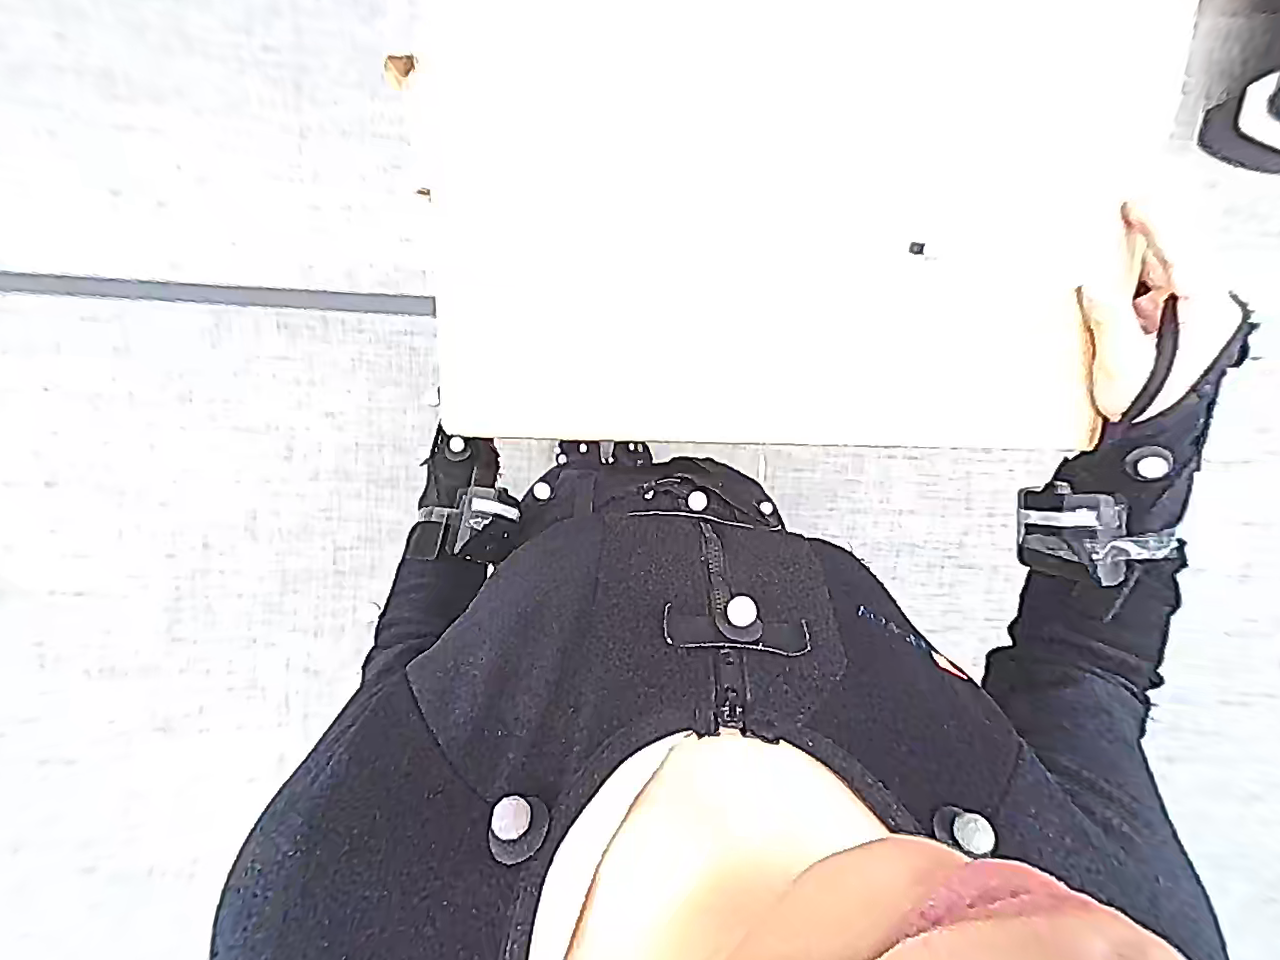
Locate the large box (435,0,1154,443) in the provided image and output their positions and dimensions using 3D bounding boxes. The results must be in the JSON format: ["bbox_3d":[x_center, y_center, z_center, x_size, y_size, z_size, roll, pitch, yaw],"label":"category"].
[{"bbox_3d":[0.074,-0.206,0.450,0.408,0.320,0.320,0,103,-8],"label":"large box"}]
